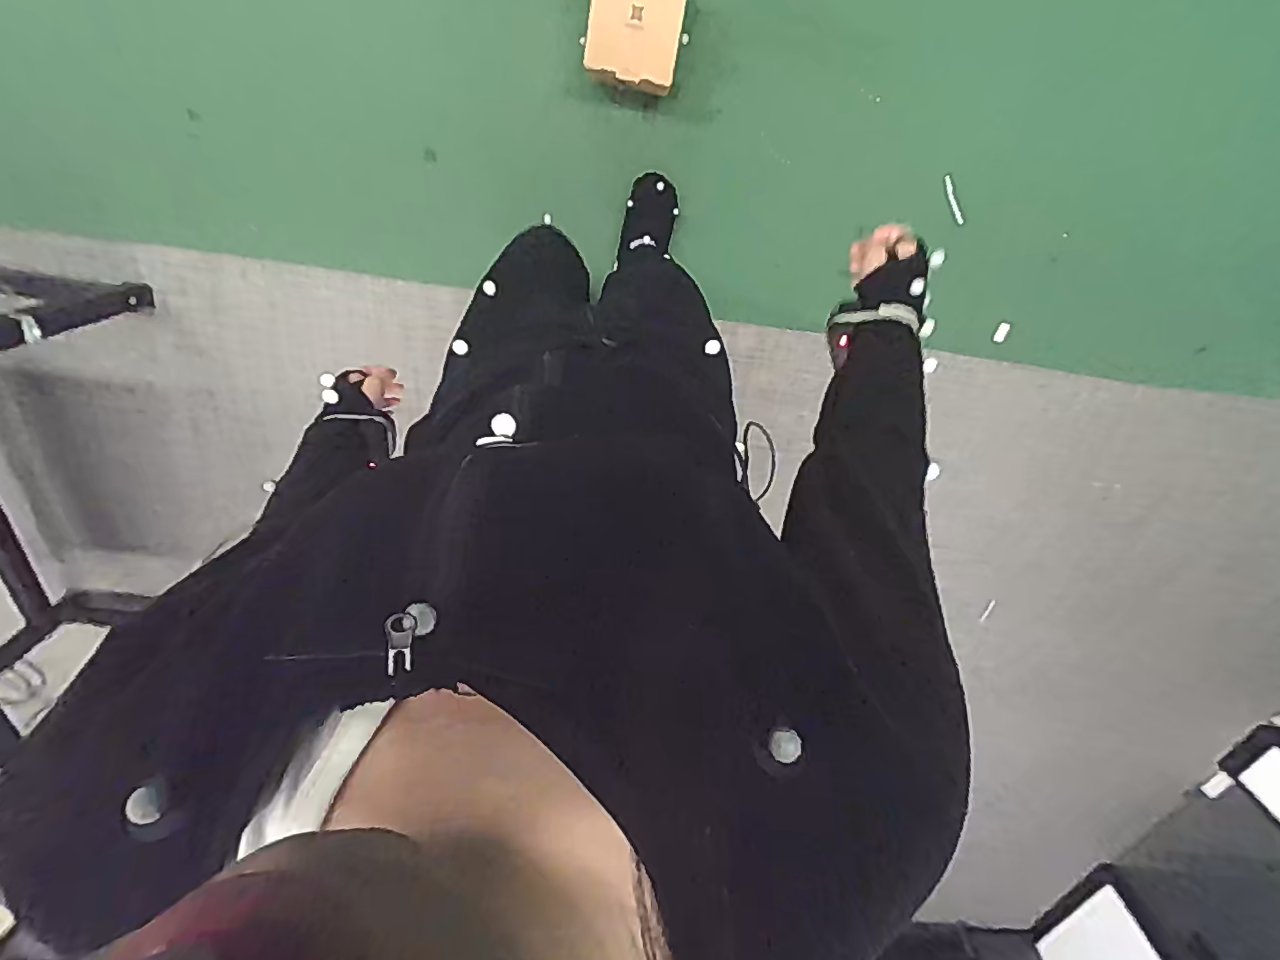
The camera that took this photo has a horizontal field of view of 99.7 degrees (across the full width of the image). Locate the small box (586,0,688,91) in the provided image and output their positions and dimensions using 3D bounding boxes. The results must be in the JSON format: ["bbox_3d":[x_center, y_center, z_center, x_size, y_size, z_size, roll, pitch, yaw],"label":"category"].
[{"bbox_3d":[-0.006,-0.862,1.019,0.168,0.176,0.179,9,121,-6],"label":"small box"}]
